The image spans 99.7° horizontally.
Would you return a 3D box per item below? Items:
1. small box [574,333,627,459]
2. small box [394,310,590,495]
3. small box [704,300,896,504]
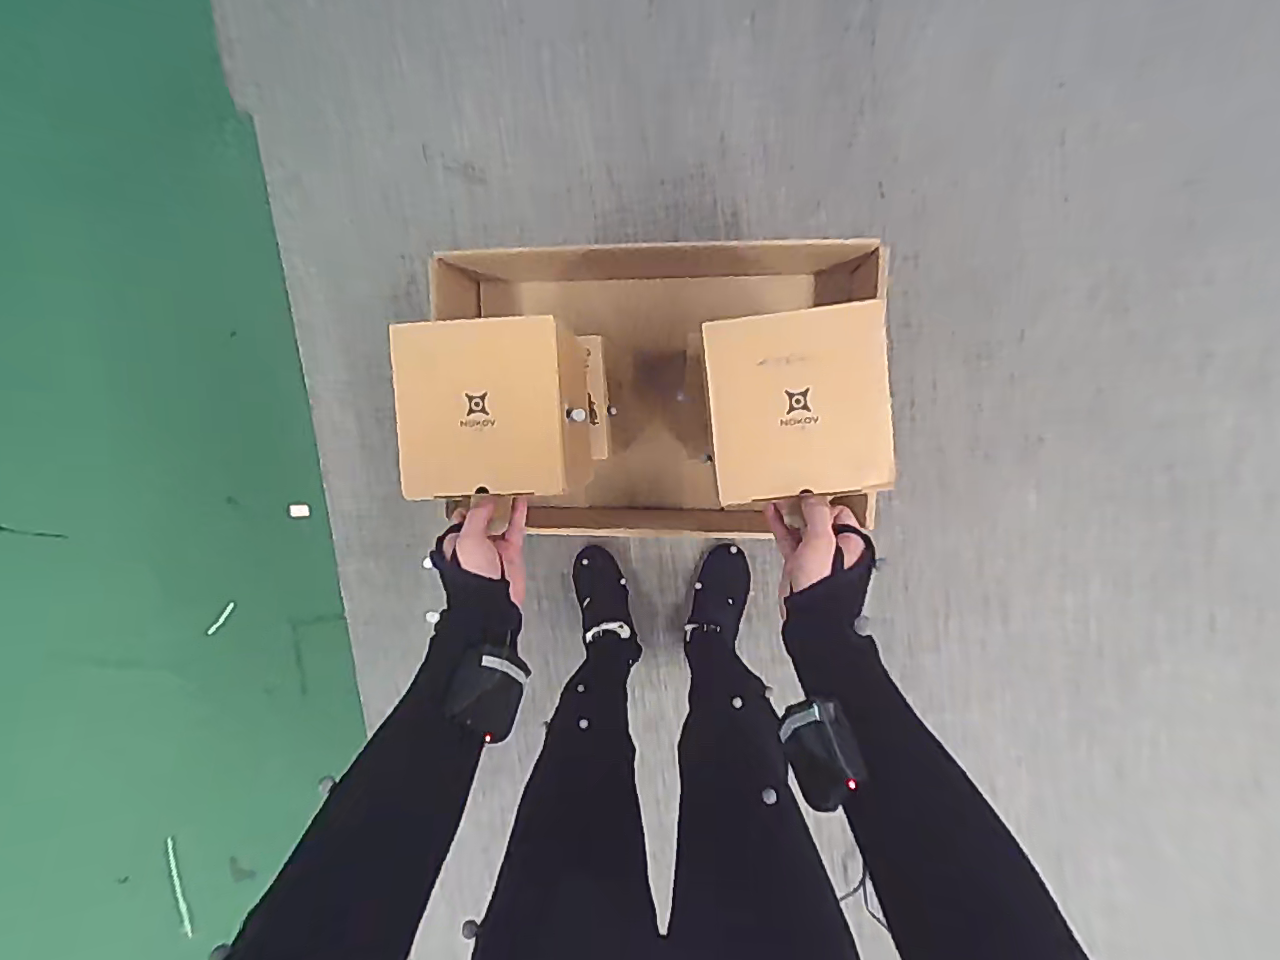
[{"bbox_3d":[-0.120,-0.116,0.794,0.179,0.176,0.168,-1,96,7],"label":"small box"},{"bbox_3d":[-0.150,-0.079,0.603,0.168,0.176,0.179,-2,94,4],"label":"small box"},{"bbox_3d":[0.156,-0.077,0.573,0.168,0.176,0.179,-5,95,6],"label":"small box"}]
